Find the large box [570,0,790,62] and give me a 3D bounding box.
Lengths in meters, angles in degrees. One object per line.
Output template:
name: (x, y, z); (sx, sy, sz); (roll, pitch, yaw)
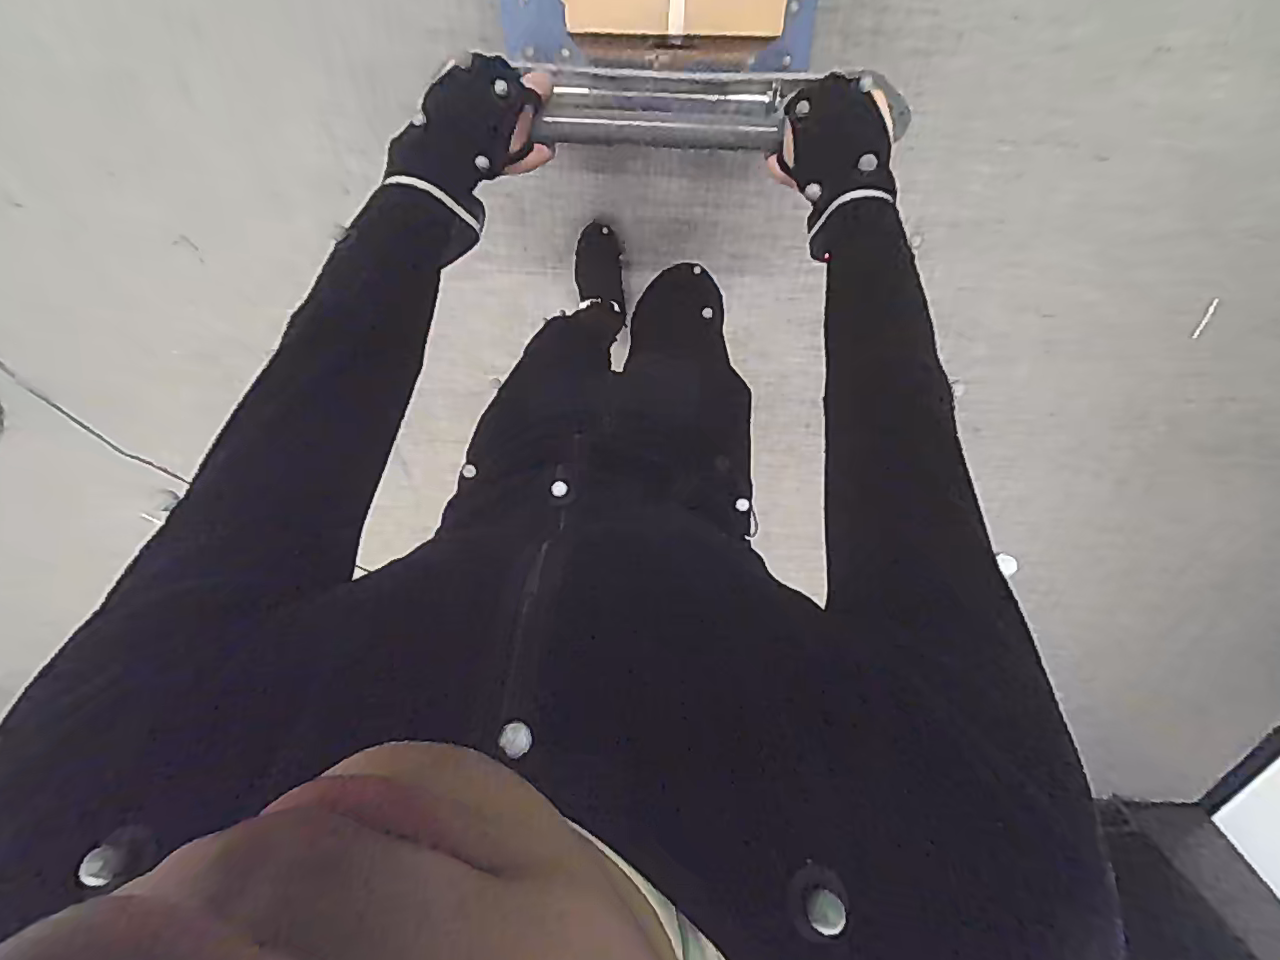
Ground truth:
large box: (0.061, -0.888, 0.800); (0.320, 0.320, 0.408); (1, 122, 0)
